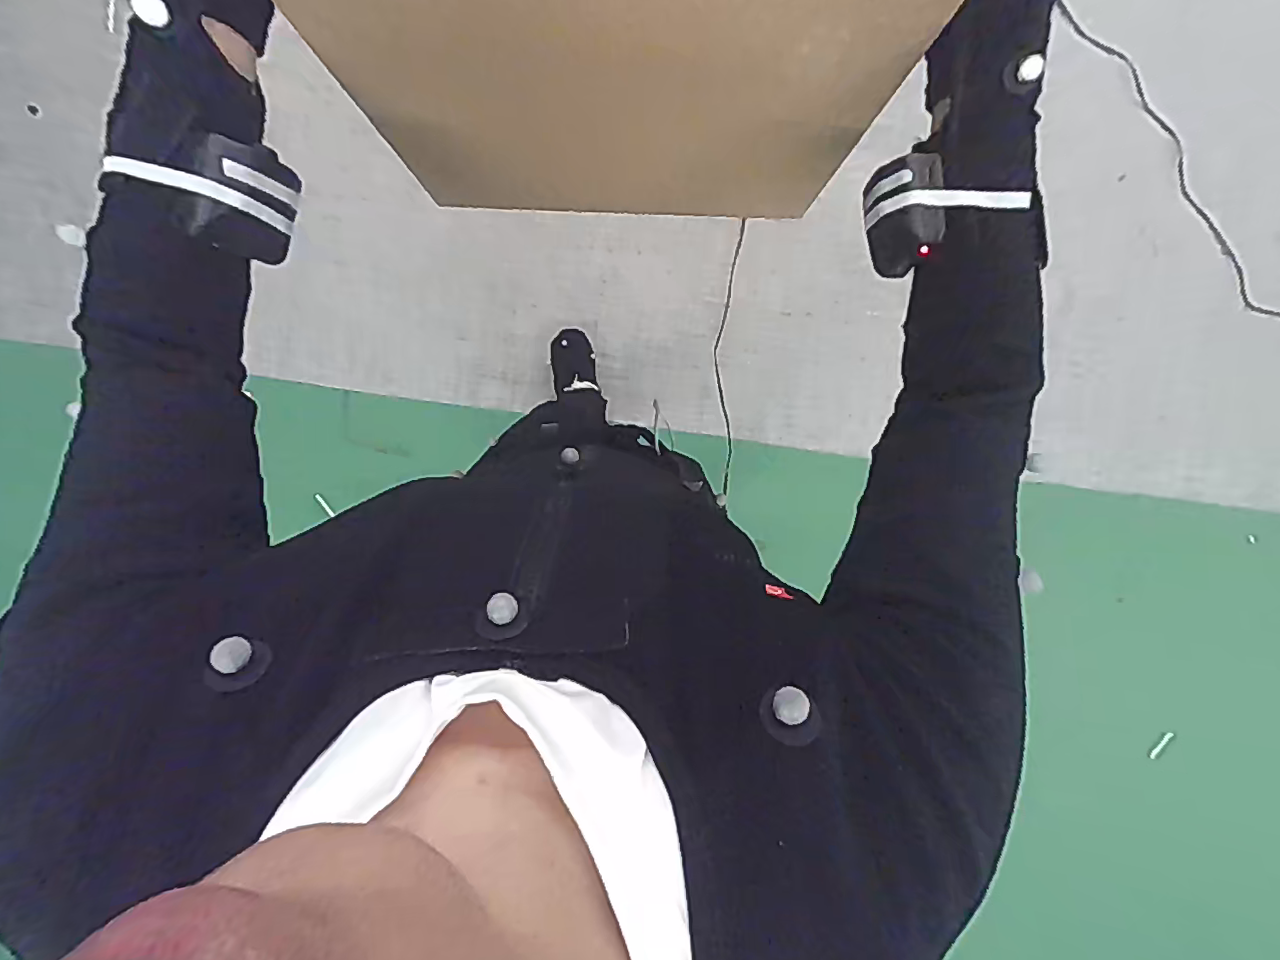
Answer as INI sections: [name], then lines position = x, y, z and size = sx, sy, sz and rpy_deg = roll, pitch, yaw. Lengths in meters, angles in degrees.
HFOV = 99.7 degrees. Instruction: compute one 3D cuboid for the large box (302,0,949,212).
[large box]
position = -0.014, -0.442, 0.444
size = 0.408, 0.320, 0.320
rpy_deg = 1, 94, -2
